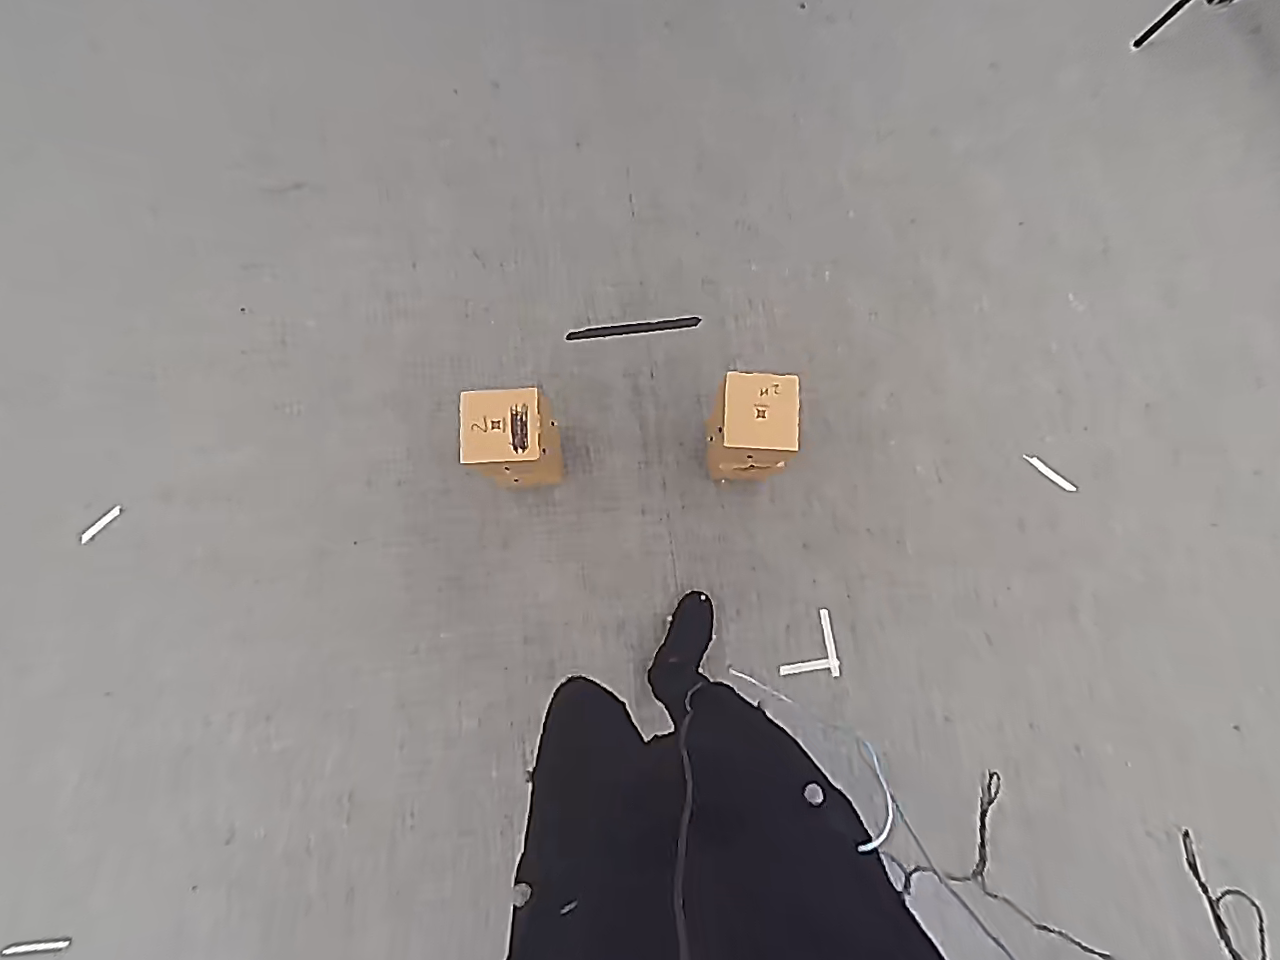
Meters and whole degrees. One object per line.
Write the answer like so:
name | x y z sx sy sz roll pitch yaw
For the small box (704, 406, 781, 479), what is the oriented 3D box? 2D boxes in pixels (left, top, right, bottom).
small box | 0.265 -0.098 1.428 0.168 0.176 0.179 -2 80 -2

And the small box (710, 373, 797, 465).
small box | 0.260 -0.136 1.267 0.168 0.176 0.179 4 81 -1

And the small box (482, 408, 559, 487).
small box | -0.308 -0.077 1.420 0.168 0.176 0.179 -4 80 -1
